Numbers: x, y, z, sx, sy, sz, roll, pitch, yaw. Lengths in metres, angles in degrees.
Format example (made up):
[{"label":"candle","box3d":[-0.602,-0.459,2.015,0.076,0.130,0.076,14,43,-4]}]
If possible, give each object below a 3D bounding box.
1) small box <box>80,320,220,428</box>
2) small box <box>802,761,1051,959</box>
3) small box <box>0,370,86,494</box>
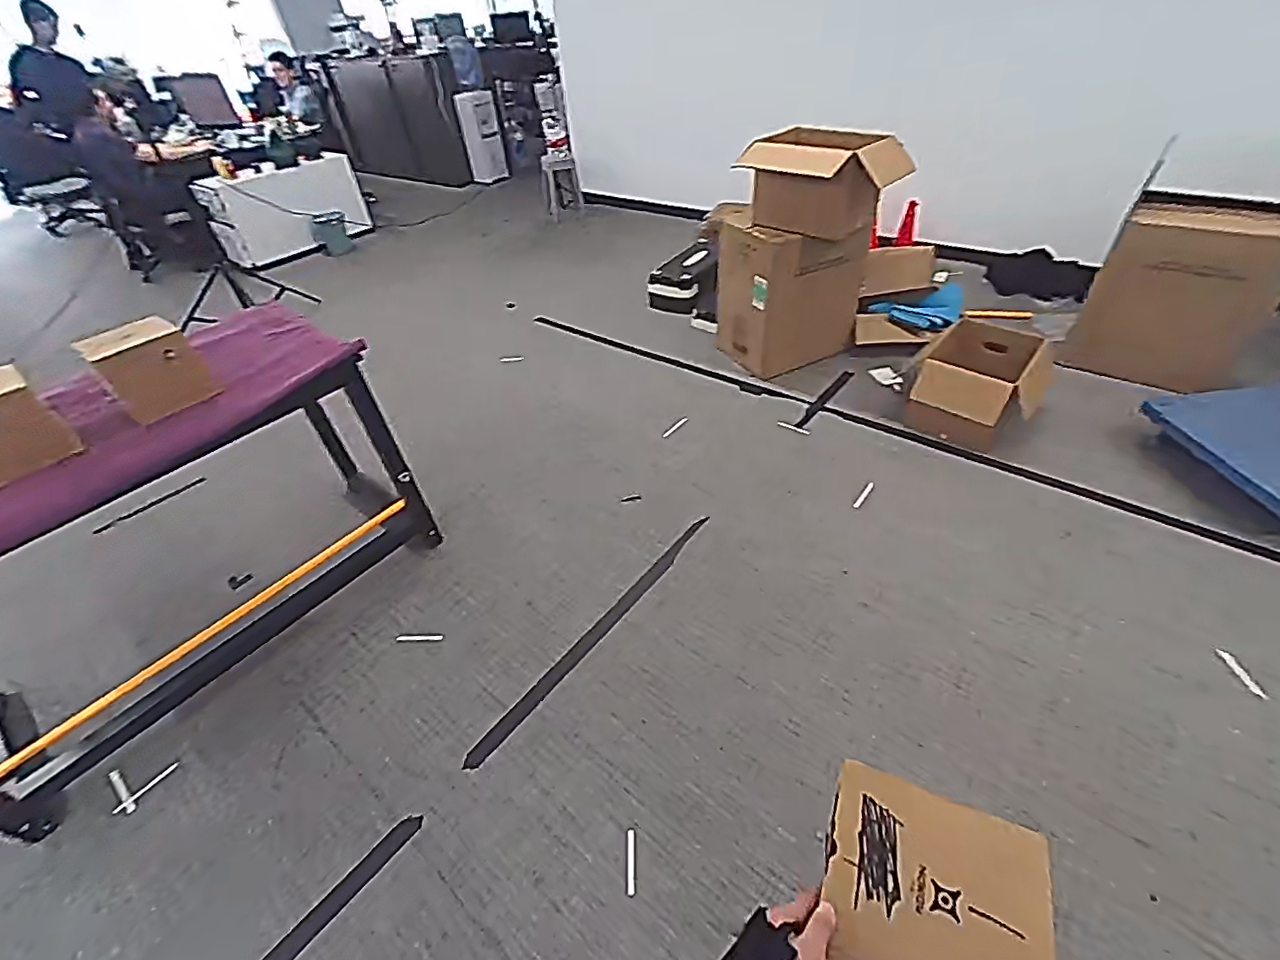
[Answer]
[{"label":"small box","box3d":[-1.144,-0.252,1.279,0.168,0.176,0.179,23,50,31]},{"label":"small box","box3d":[0.256,0.407,0.508,0.179,0.176,0.168,10,46,24]},{"label":"small box","box3d":[-1.334,-0.103,1.142,0.168,0.176,0.179,25,51,31]}]
